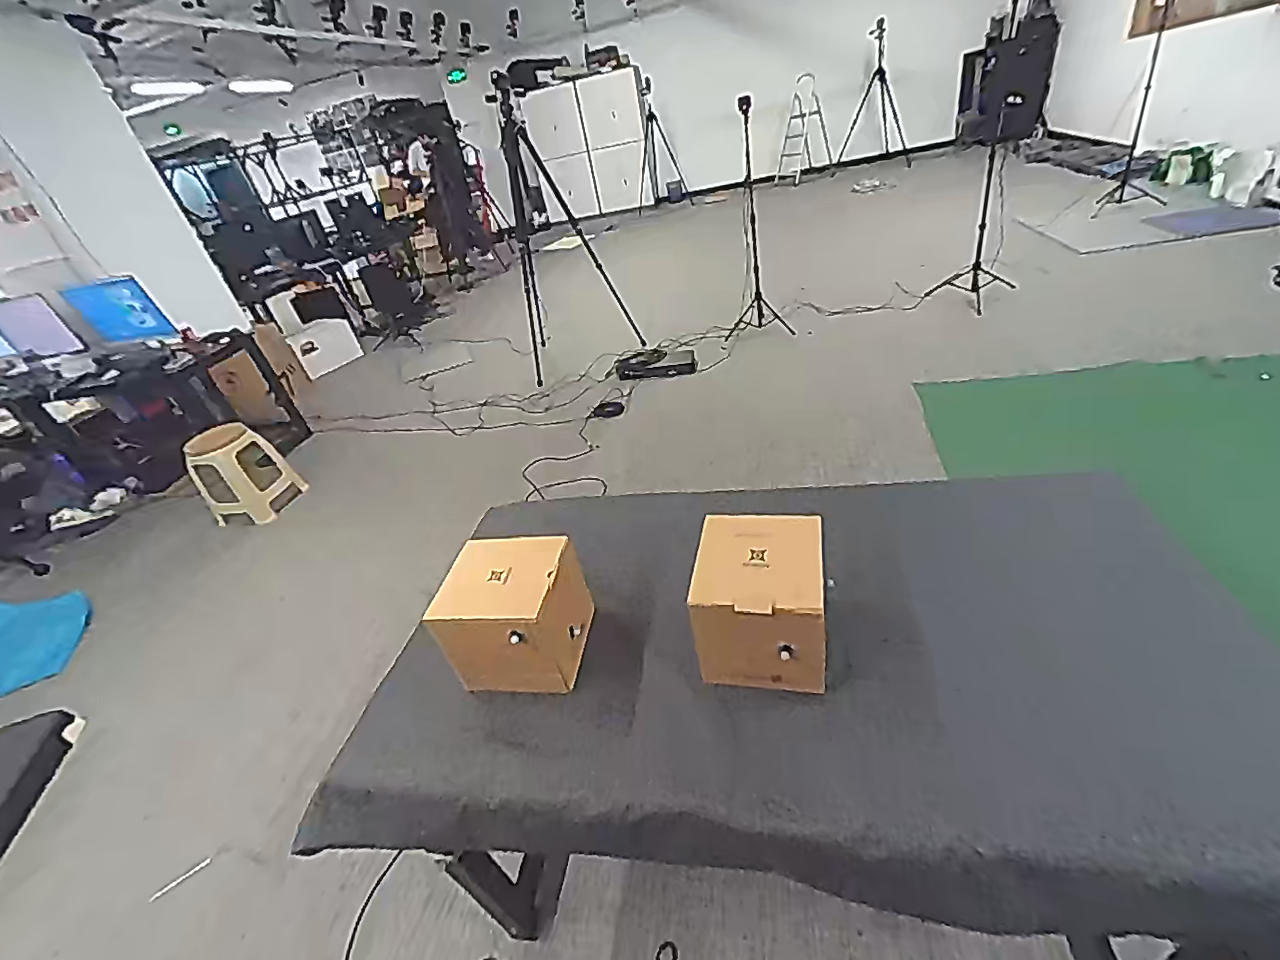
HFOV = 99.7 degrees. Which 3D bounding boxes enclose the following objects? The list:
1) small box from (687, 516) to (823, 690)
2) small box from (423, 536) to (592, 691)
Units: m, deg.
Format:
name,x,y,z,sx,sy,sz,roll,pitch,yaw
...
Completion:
name,x,y,z,sx,sy,sz,roll,pitch,yaw
small box,0.169,0.169,0.760,0.168,0.176,0.179,0,35,17
small box,-0.190,0.205,0.831,0.179,0.176,0.168,-4,35,13
